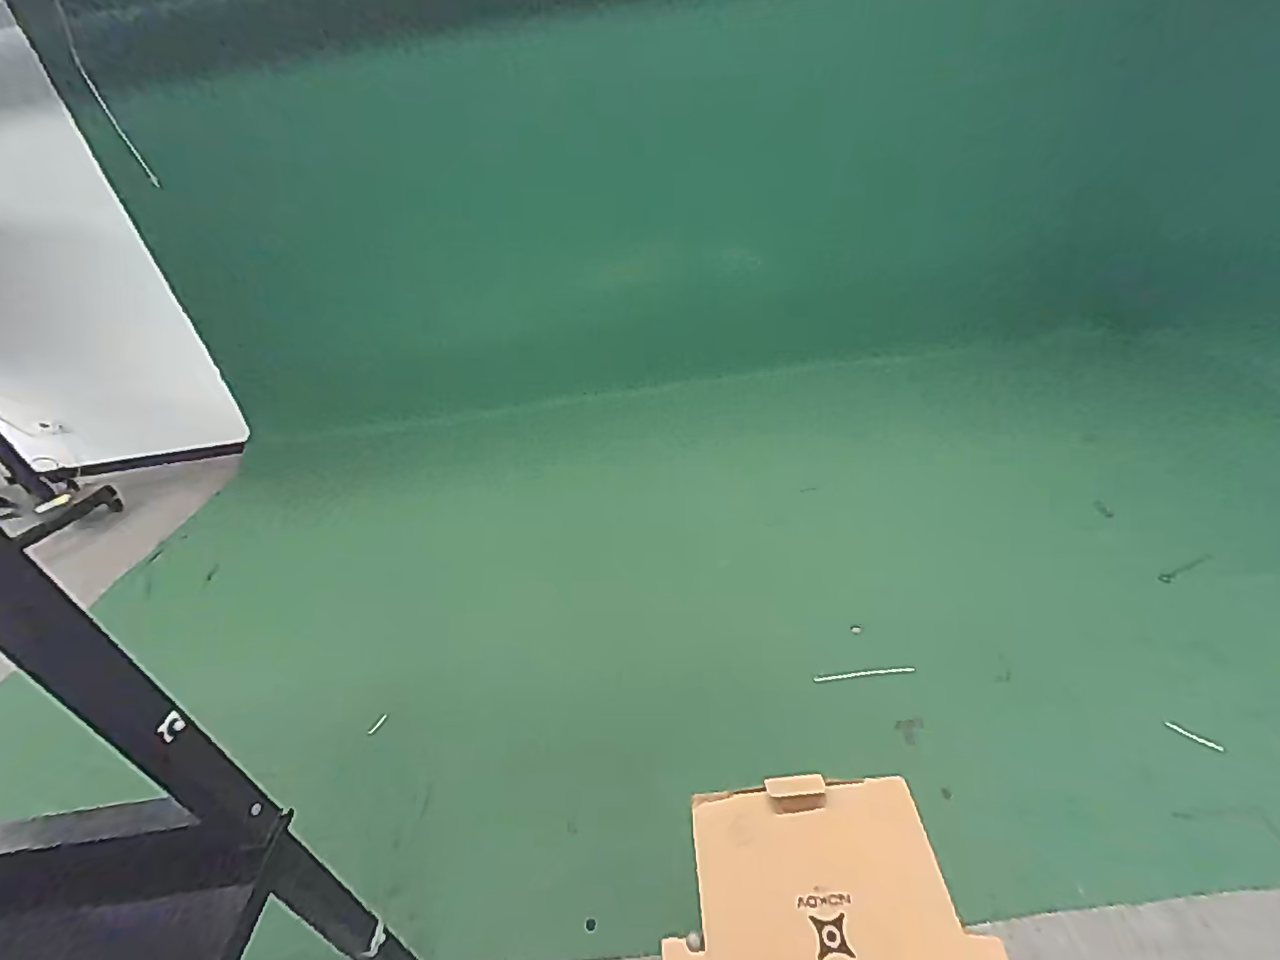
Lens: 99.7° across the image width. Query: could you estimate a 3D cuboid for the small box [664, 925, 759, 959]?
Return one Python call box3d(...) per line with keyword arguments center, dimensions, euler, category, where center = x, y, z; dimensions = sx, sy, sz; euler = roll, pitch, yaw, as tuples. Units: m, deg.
box3d(center=(0.139, 0.922, 0.941), dimensions=(0.168, 0.176, 0.179), euler=(-9, 31, 2), category="small box")
